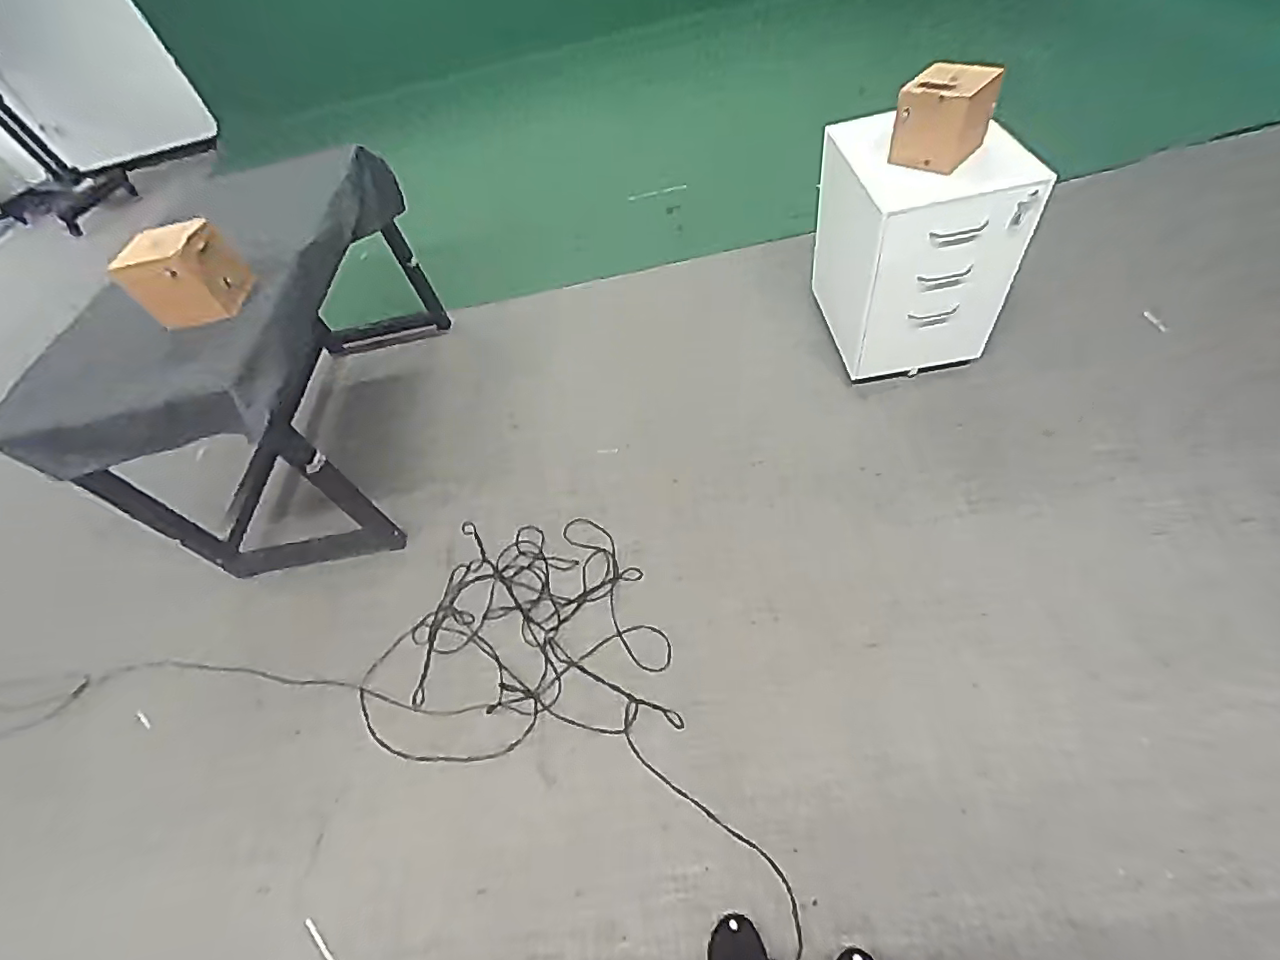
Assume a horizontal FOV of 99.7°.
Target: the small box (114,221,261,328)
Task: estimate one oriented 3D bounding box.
[{"bbox_3d":[-1.067,-0.485,1.292,0.179,0.176,0.168,-9,52,5],"label":"small box"}]
